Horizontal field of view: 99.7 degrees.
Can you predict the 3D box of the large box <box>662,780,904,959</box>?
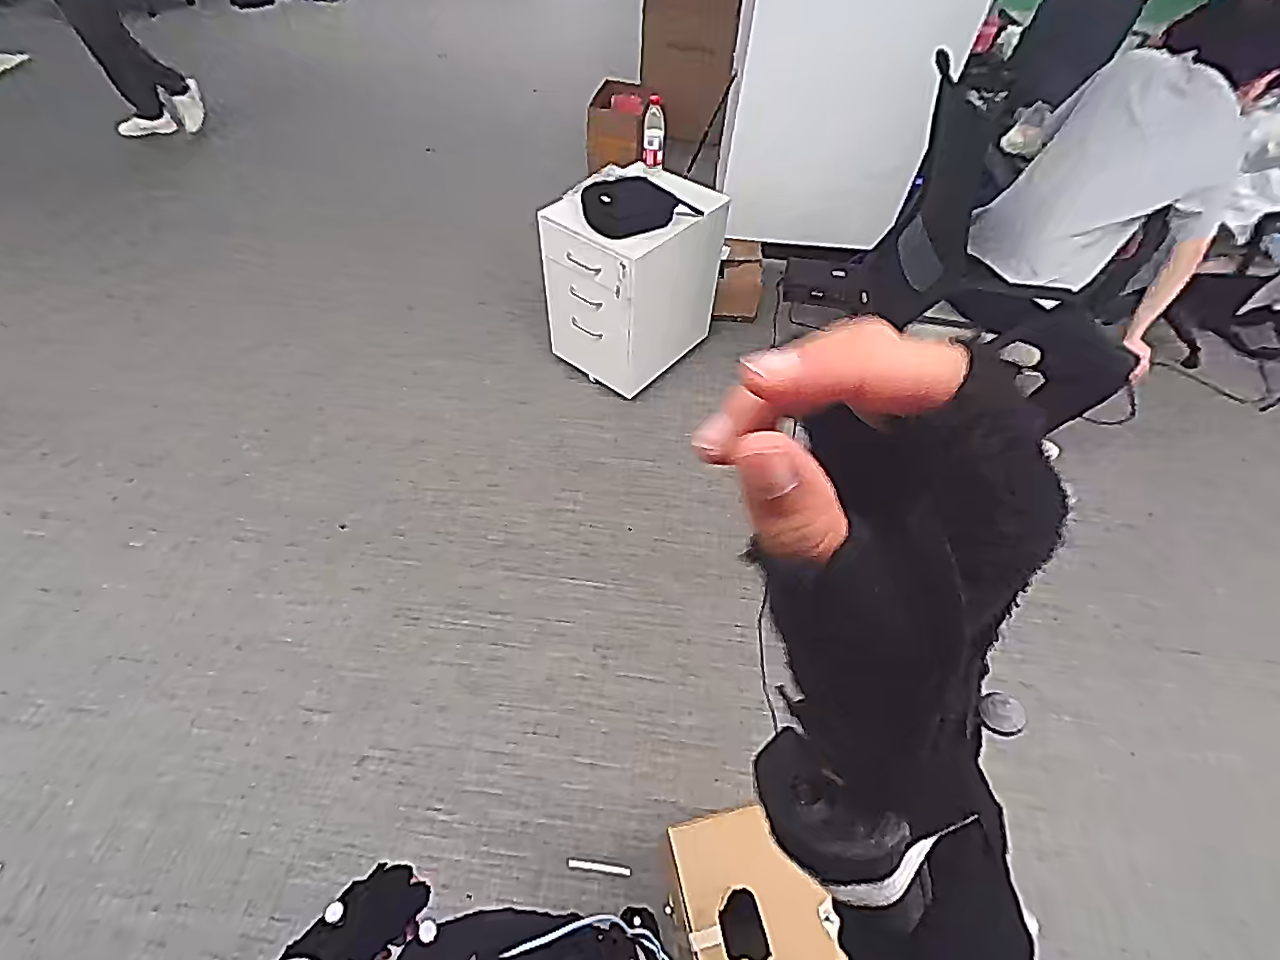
[{"bbox_3d":[0.231,0.802,1.008,0.320,0.408,0.320,-11,53,-8],"label":"large box"}]
